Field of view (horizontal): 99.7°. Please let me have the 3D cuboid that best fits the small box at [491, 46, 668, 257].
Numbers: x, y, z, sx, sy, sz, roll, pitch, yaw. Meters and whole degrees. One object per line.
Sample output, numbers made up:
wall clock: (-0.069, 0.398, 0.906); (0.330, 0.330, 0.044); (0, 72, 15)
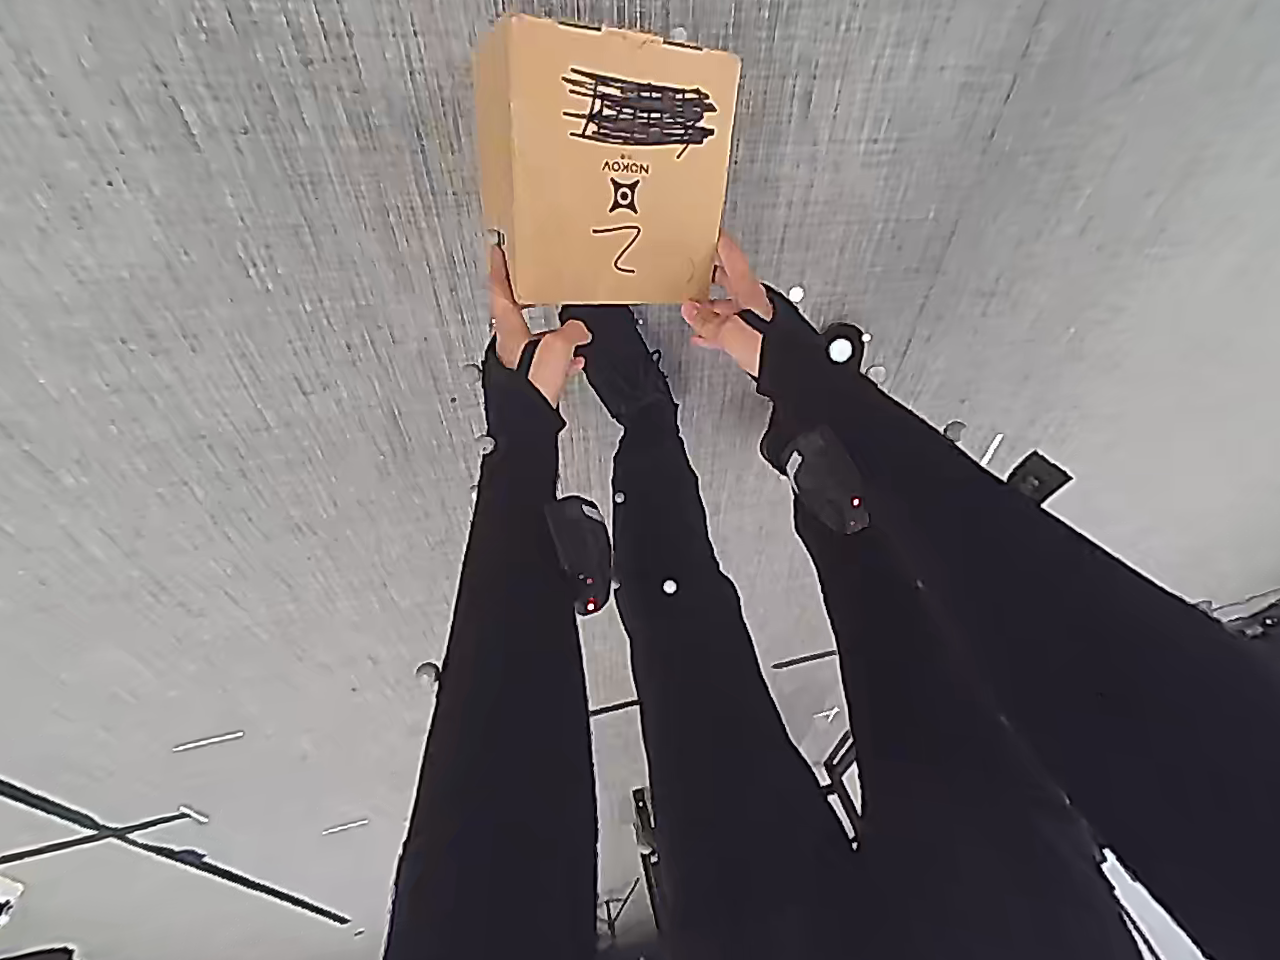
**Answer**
small box: (-0.070, -0.377, 0.613); (0.168, 0.176, 0.179); (-10, 133, -9)
